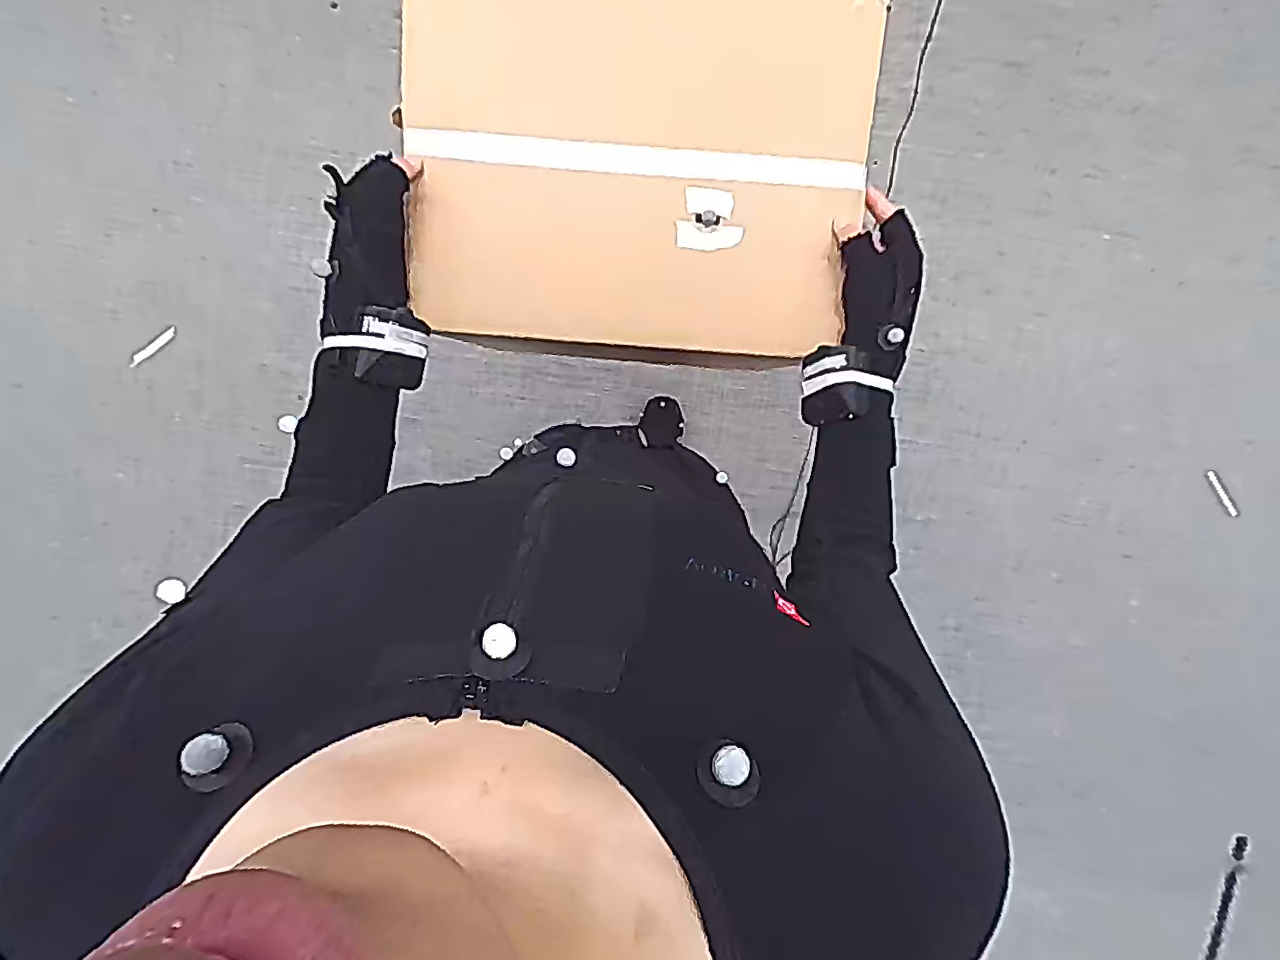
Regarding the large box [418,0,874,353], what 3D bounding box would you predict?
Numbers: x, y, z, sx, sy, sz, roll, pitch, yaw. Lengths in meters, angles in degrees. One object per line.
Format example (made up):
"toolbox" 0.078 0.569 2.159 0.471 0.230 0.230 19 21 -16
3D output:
"large box" -0.004 -0.322 0.637 0.408 0.320 0.320 3 101 -2
